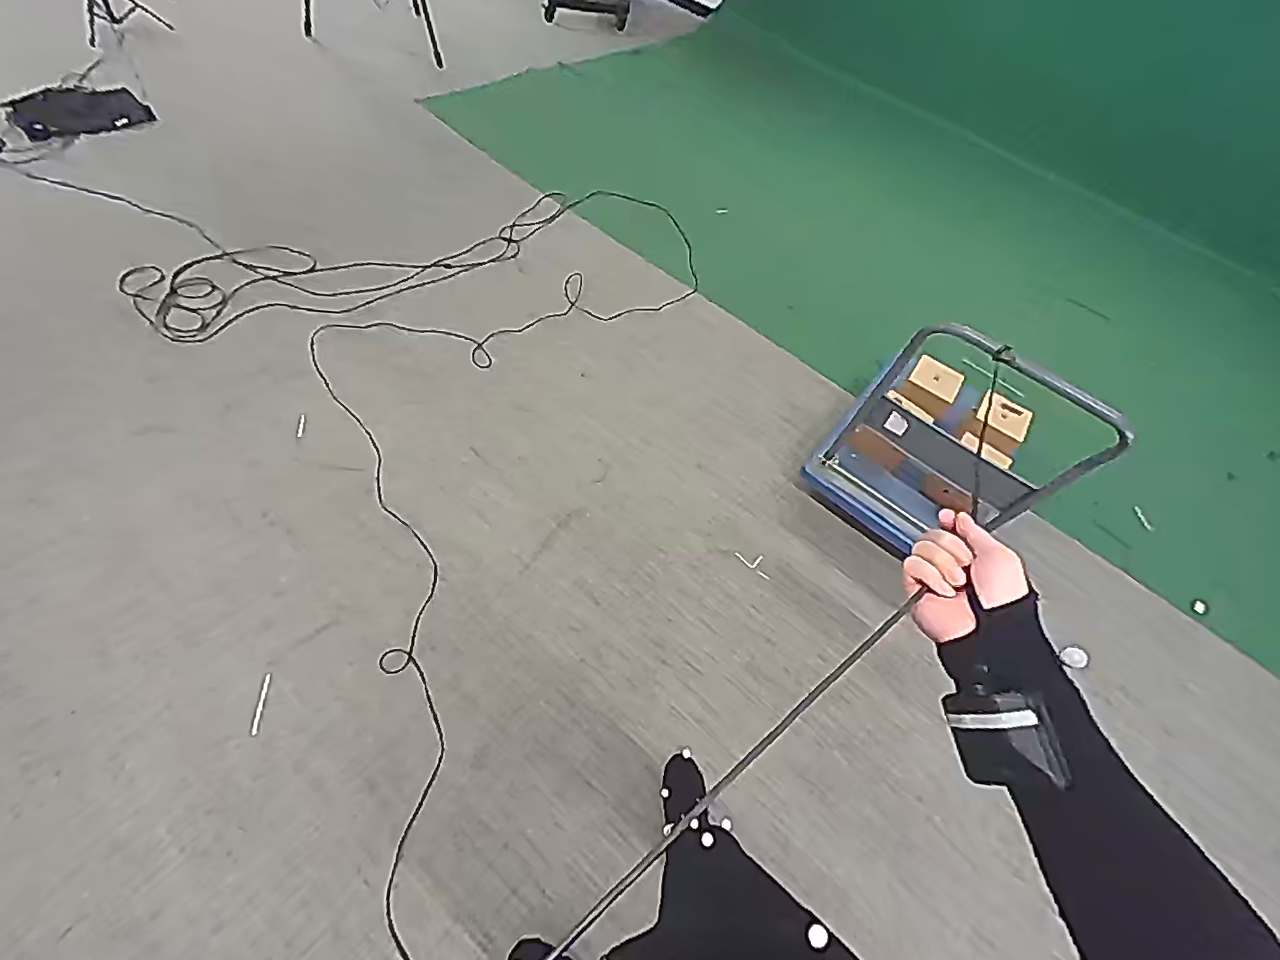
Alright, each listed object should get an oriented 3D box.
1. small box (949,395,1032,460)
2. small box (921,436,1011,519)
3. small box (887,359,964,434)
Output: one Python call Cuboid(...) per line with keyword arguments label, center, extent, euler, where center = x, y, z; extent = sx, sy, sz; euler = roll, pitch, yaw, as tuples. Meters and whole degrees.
Cuboid(label="small box", center=(1.244, -0.164, 1.927), extent=(0.168, 0.176, 0.179), euler=(34, 58, 14))
Cuboid(label="small box", center=(1.073, -0.005, 1.791), extent=(0.168, 0.176, 0.179), euler=(39, 59, 15))
Cuboid(label="small box", center=(1.041, -0.302, 1.983), extent=(0.168, 0.176, 0.179), euler=(35, 58, 12))
